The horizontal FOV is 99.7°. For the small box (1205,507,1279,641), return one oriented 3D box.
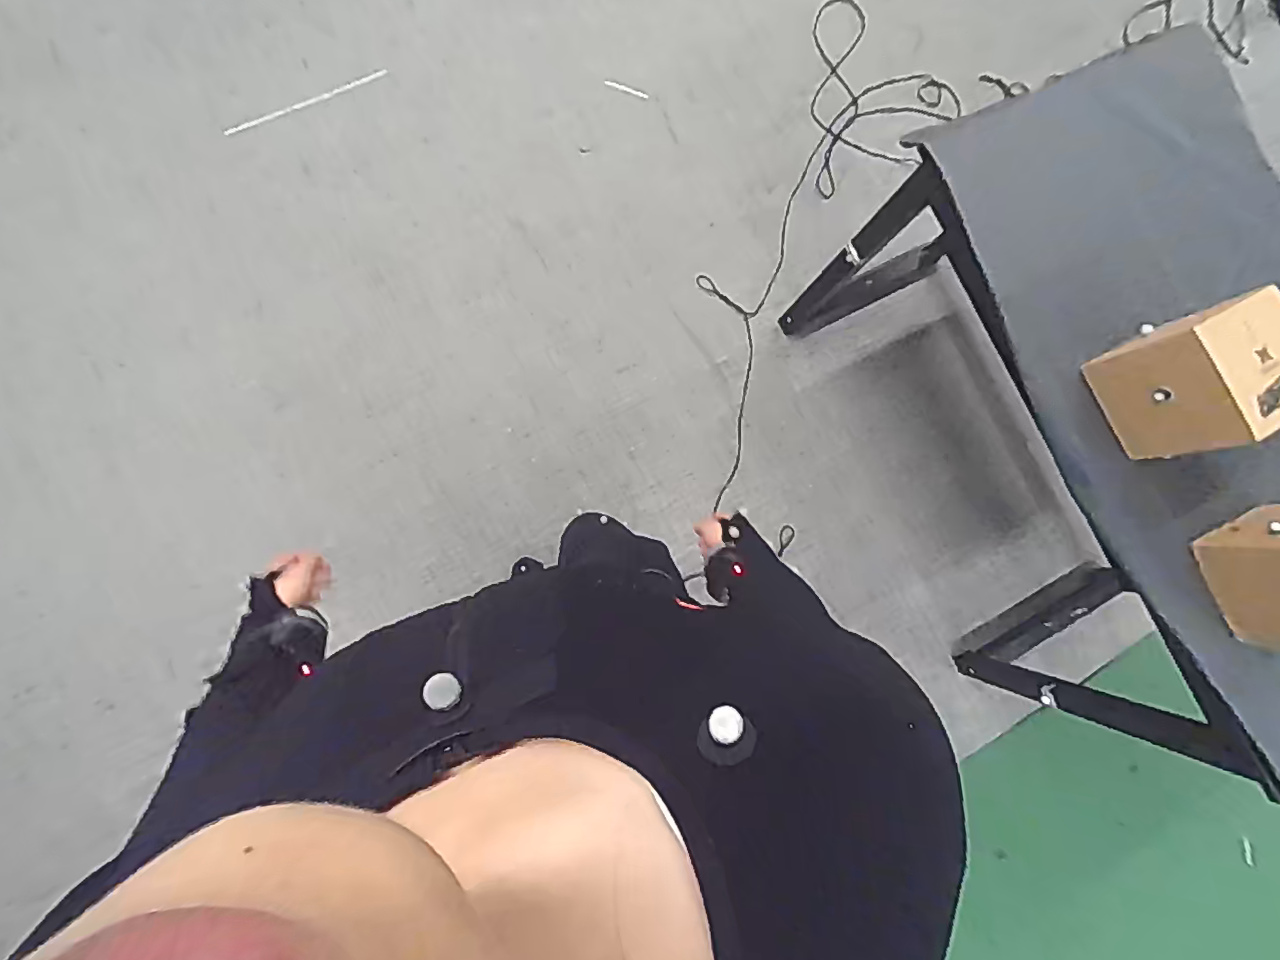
[{"bbox_3d":[1.006,0.137,0.792,0.168,0.176,0.179,-23,88,-8],"label":"small box"}]

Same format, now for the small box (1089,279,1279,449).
[{"bbox_3d":[0.836,-0.156,0.801,0.168,0.176,0.179,-26,86,-10],"label":"small box"}]
